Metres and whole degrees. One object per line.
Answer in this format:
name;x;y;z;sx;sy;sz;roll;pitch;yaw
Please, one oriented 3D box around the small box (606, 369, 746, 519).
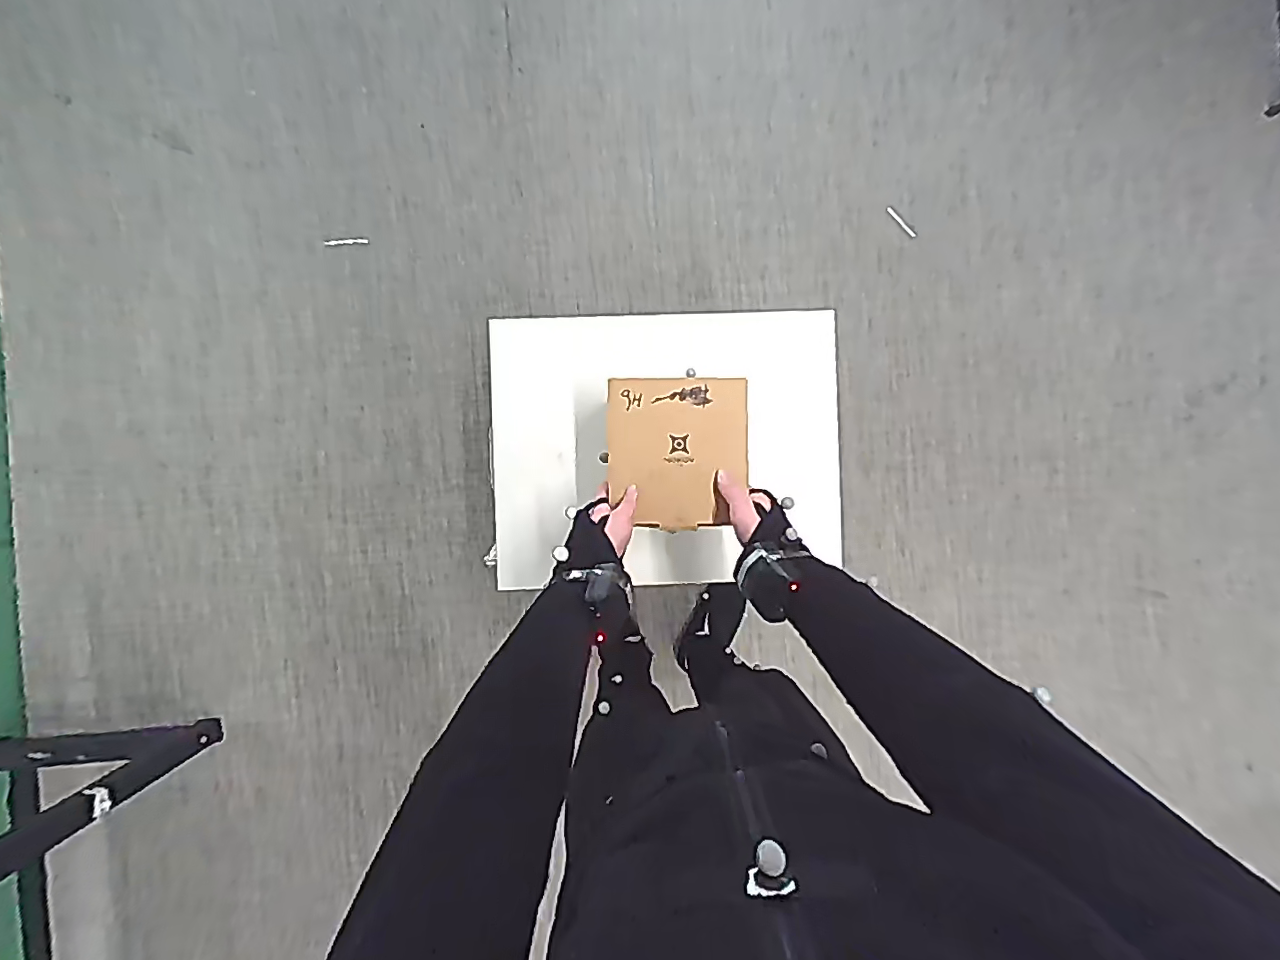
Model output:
small box;0.044;-0.042;0.720;0.168;0.176;0.179;-2;89;0
